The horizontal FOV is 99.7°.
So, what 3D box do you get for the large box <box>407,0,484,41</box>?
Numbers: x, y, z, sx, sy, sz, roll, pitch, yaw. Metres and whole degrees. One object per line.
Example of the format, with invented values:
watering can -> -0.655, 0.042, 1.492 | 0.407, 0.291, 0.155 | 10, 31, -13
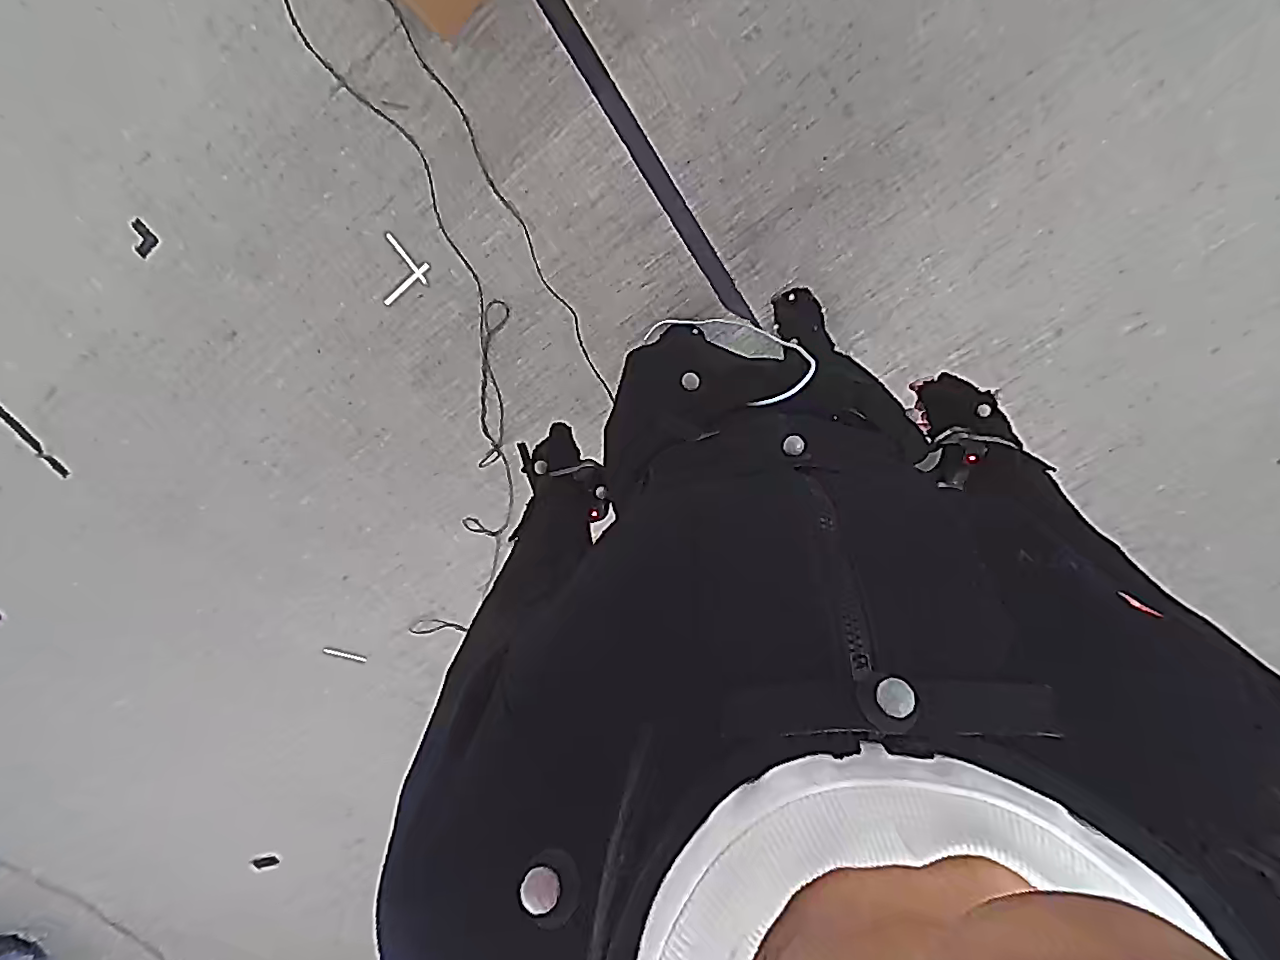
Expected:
large box -> -0.373, -1.123, 0.951 | 0.408, 0.320, 0.320 | -37, 105, 14
